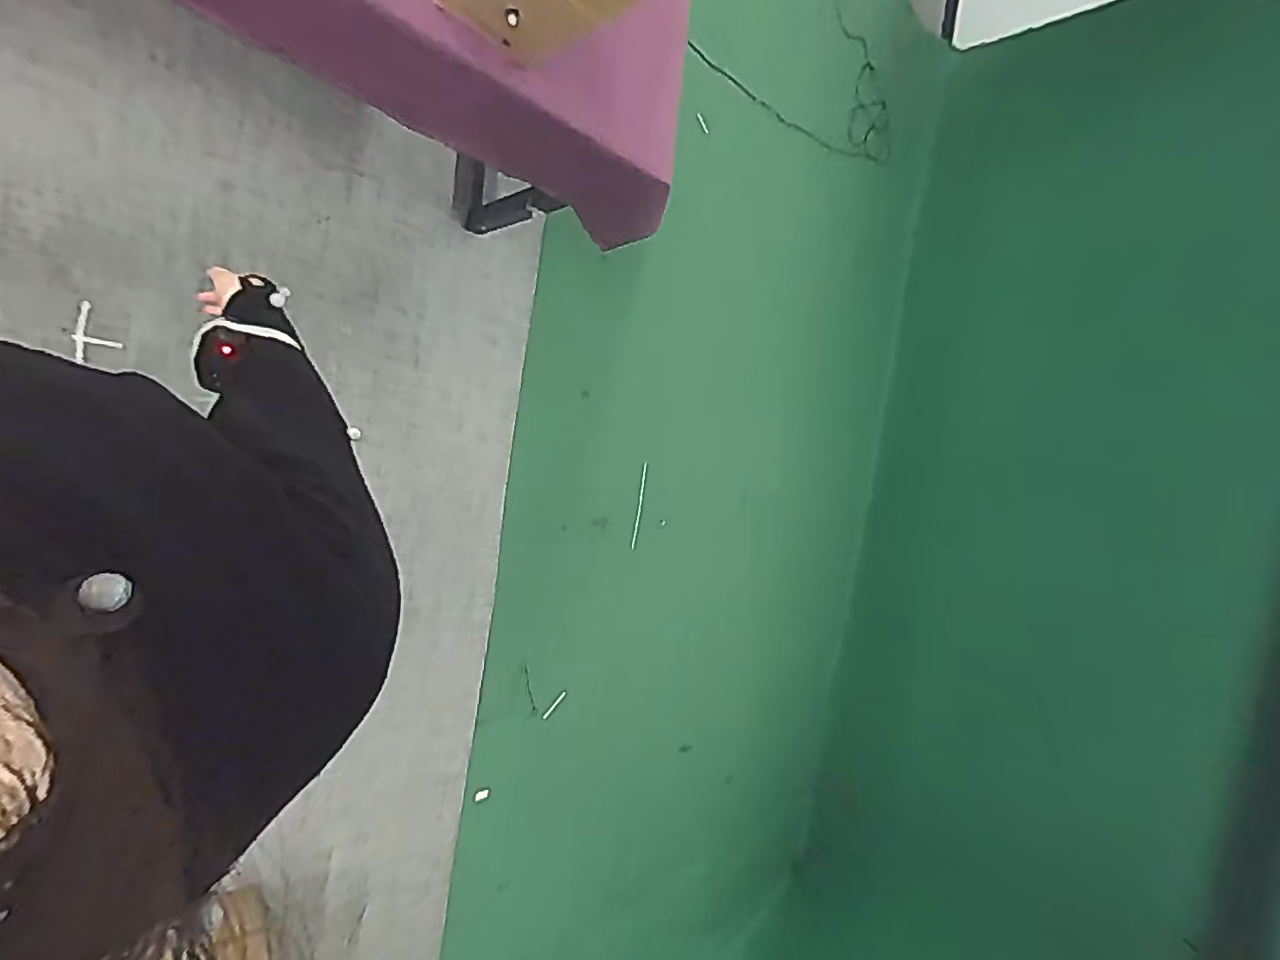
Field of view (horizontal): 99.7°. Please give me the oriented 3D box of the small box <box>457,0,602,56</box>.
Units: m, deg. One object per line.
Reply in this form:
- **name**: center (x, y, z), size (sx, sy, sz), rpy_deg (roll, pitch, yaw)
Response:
- **small box**: center (-0.155, -0.727, 0.725), size (0.168, 0.176, 0.179), rpy_deg (2, 97, -47)
